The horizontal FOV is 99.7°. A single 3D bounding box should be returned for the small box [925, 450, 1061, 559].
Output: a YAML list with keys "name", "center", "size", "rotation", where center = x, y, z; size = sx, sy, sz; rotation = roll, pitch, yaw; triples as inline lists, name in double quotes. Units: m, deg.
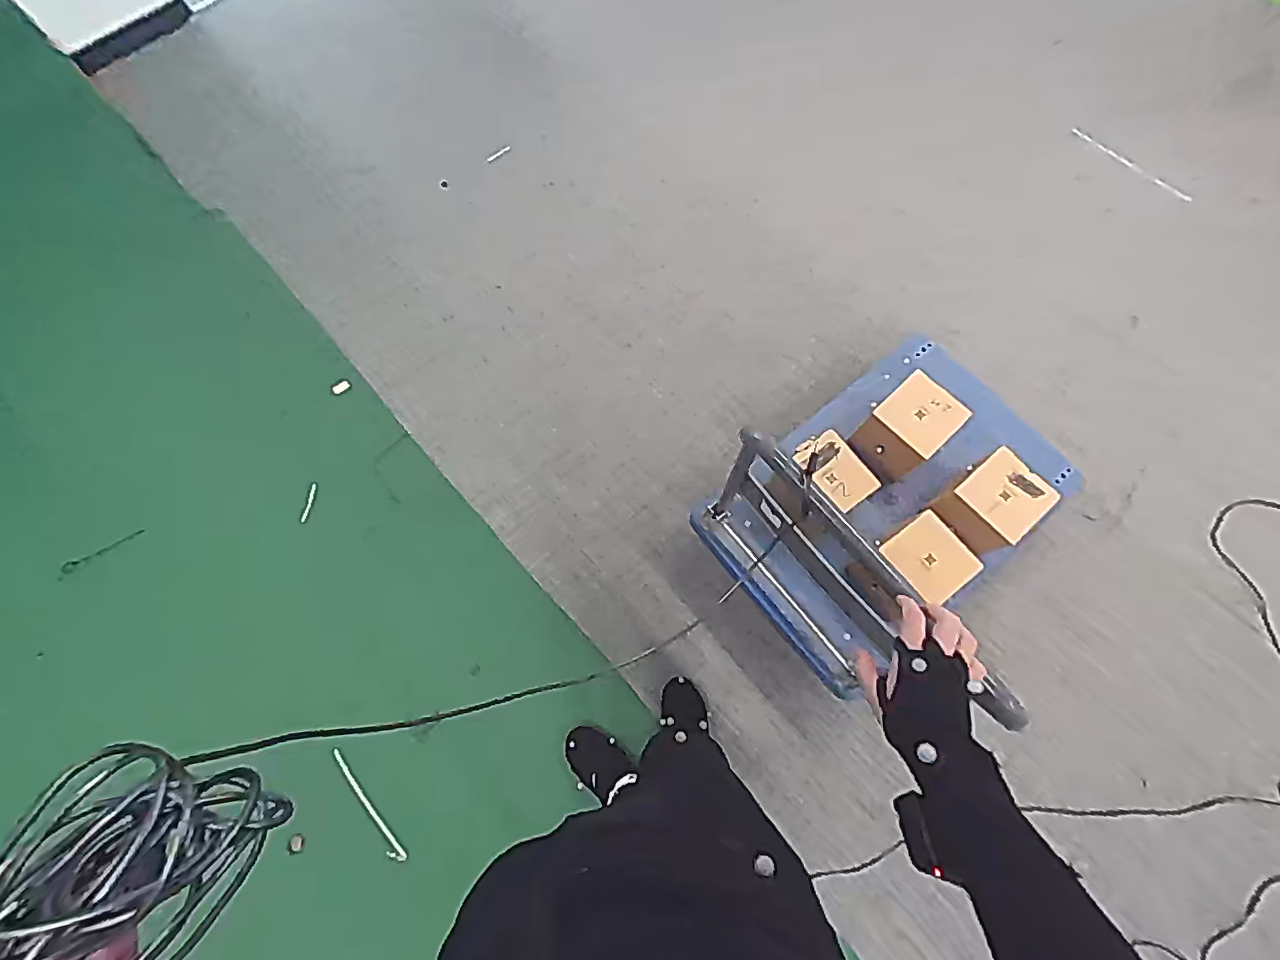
- name: "small box"
  center: [0.821, 0.065, 1.279]
  size: [0.179, 0.176, 0.168]
  rotation: [-38, 75, -10]

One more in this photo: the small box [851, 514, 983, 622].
- name: "small box"
  center: [0.621, 0.206, 1.237]
  size: [0.179, 0.176, 0.168]
  rotation: [-35, 75, -9]

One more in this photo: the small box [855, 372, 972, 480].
- name: "small box"
  center: [0.664, -0.125, 1.342]
  size: [0.179, 0.176, 0.168]
  rotation: [-41, 77, -11]
